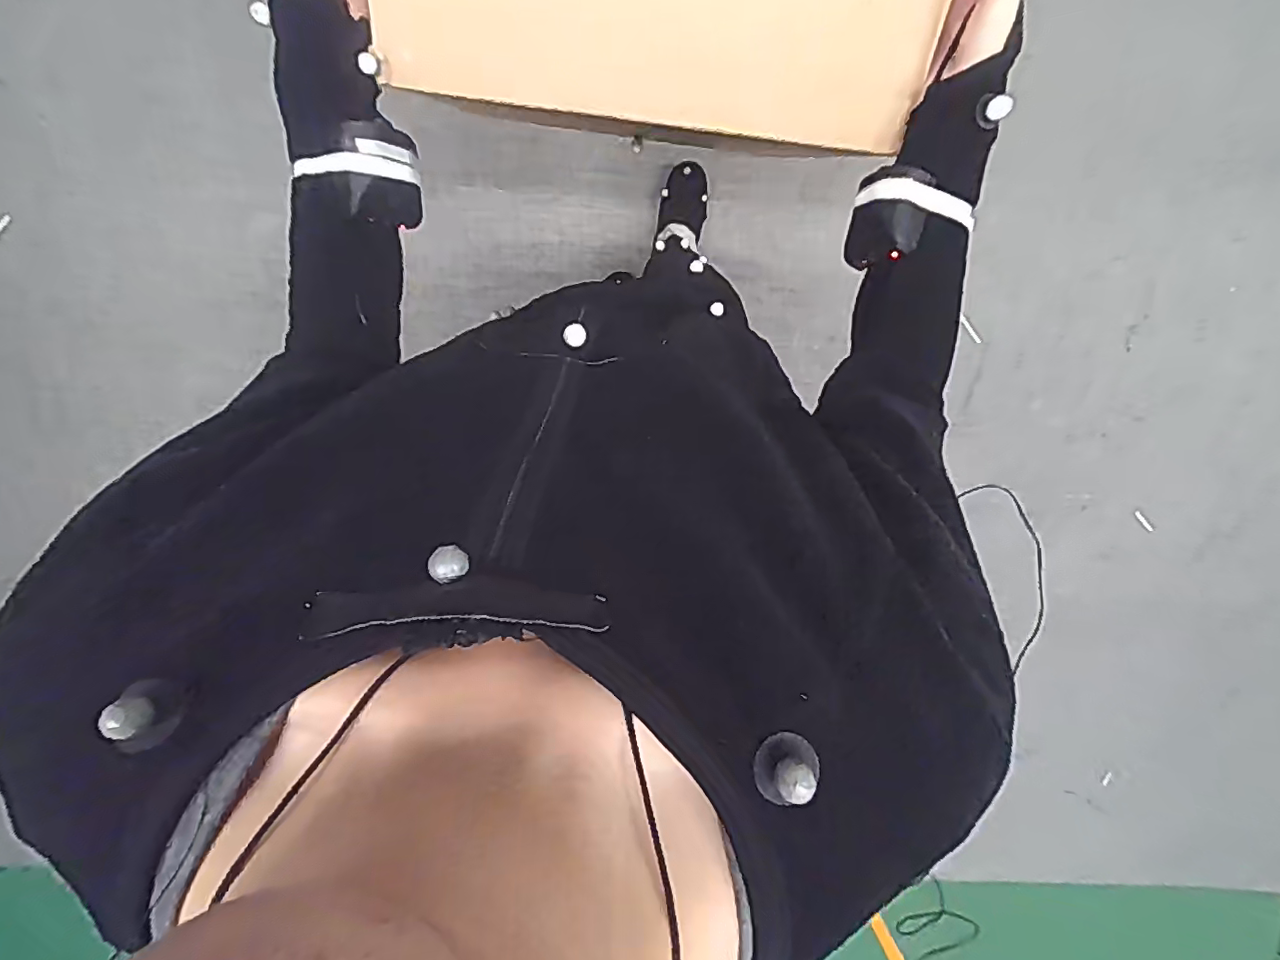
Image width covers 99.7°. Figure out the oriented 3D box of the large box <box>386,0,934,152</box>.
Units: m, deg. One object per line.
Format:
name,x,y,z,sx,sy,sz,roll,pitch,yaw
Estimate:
large box,0.018,-0.488,0.478,0.408,0.320,0.320,3,119,-6
